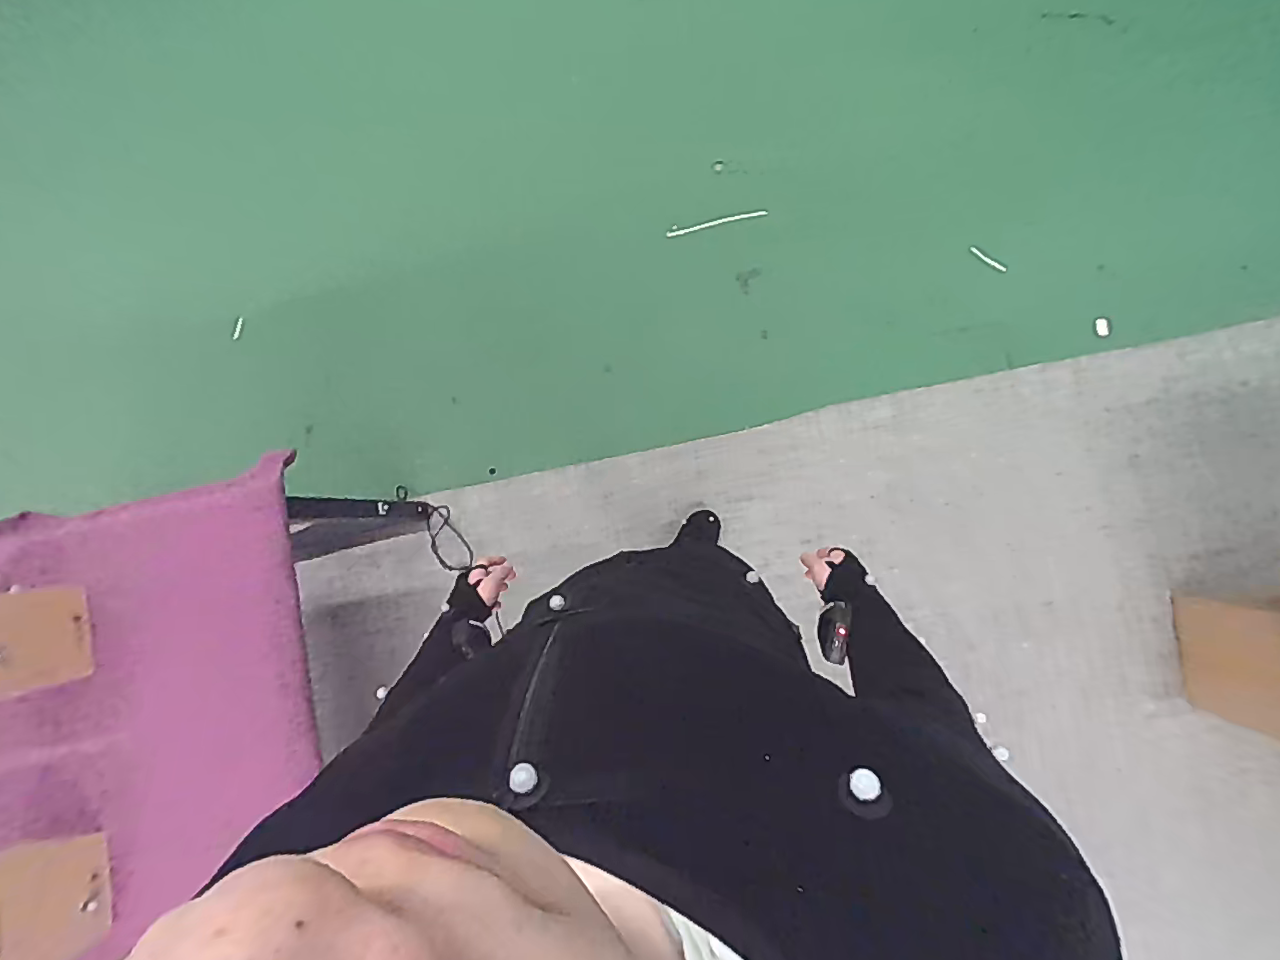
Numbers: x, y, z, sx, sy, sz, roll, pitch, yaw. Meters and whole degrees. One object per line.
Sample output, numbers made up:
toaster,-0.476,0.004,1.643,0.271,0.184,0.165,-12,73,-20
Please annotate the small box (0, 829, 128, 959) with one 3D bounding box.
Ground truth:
small box,-1.013,0.714,0.891,0.179,0.176,0.168,-10,88,3

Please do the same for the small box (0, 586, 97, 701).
small box,-1.090,0.285,0.913,0.179,0.176,0.168,-11,88,3
